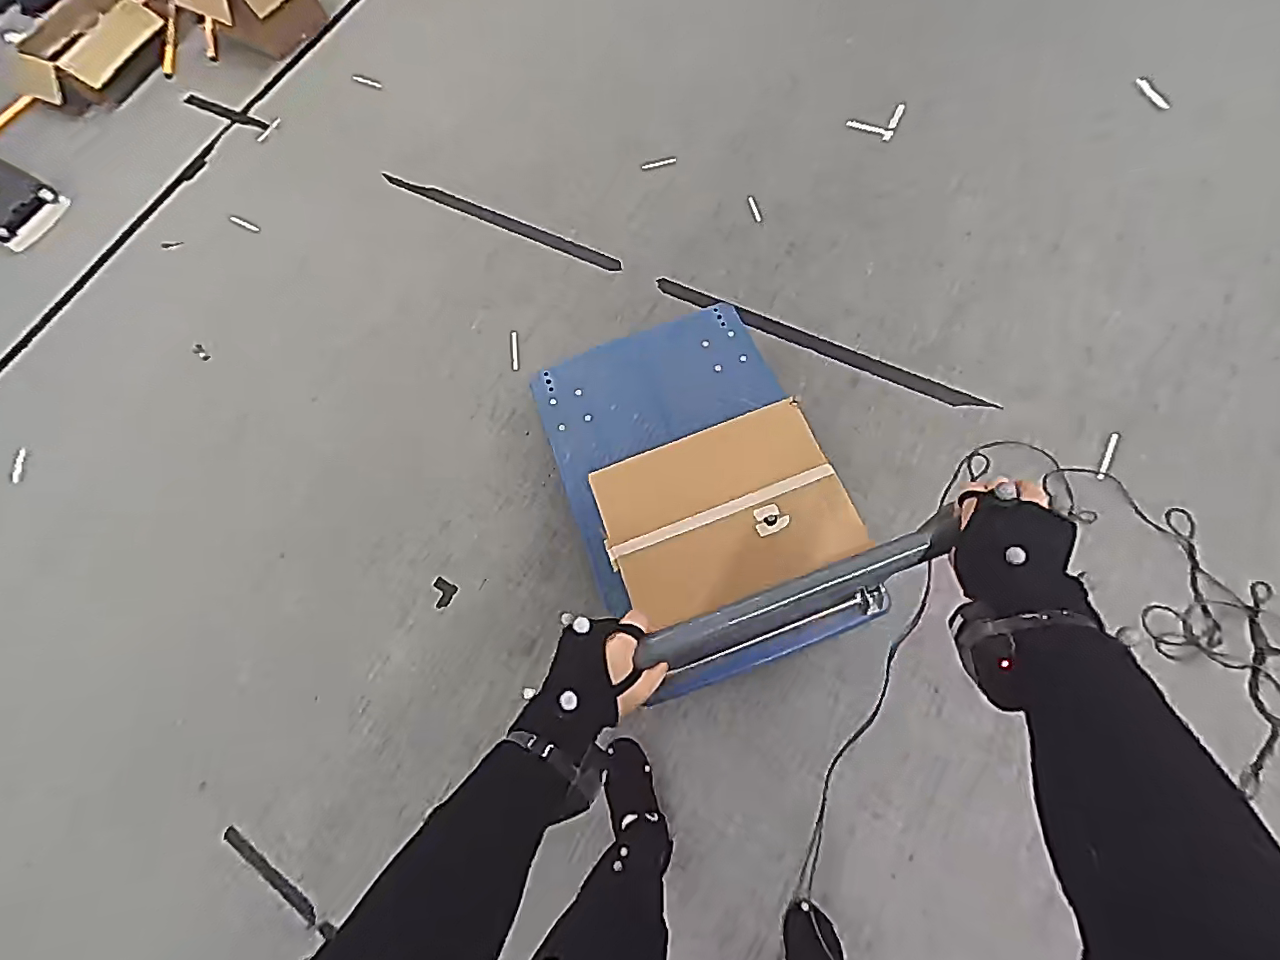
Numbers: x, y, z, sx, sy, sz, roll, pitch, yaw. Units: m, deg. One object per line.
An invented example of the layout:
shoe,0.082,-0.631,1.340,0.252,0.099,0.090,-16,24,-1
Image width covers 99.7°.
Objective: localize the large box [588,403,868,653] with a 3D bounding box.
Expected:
large box,0.155,0.114,1.066,0.408,0.320,0.320,-21,69,-2
